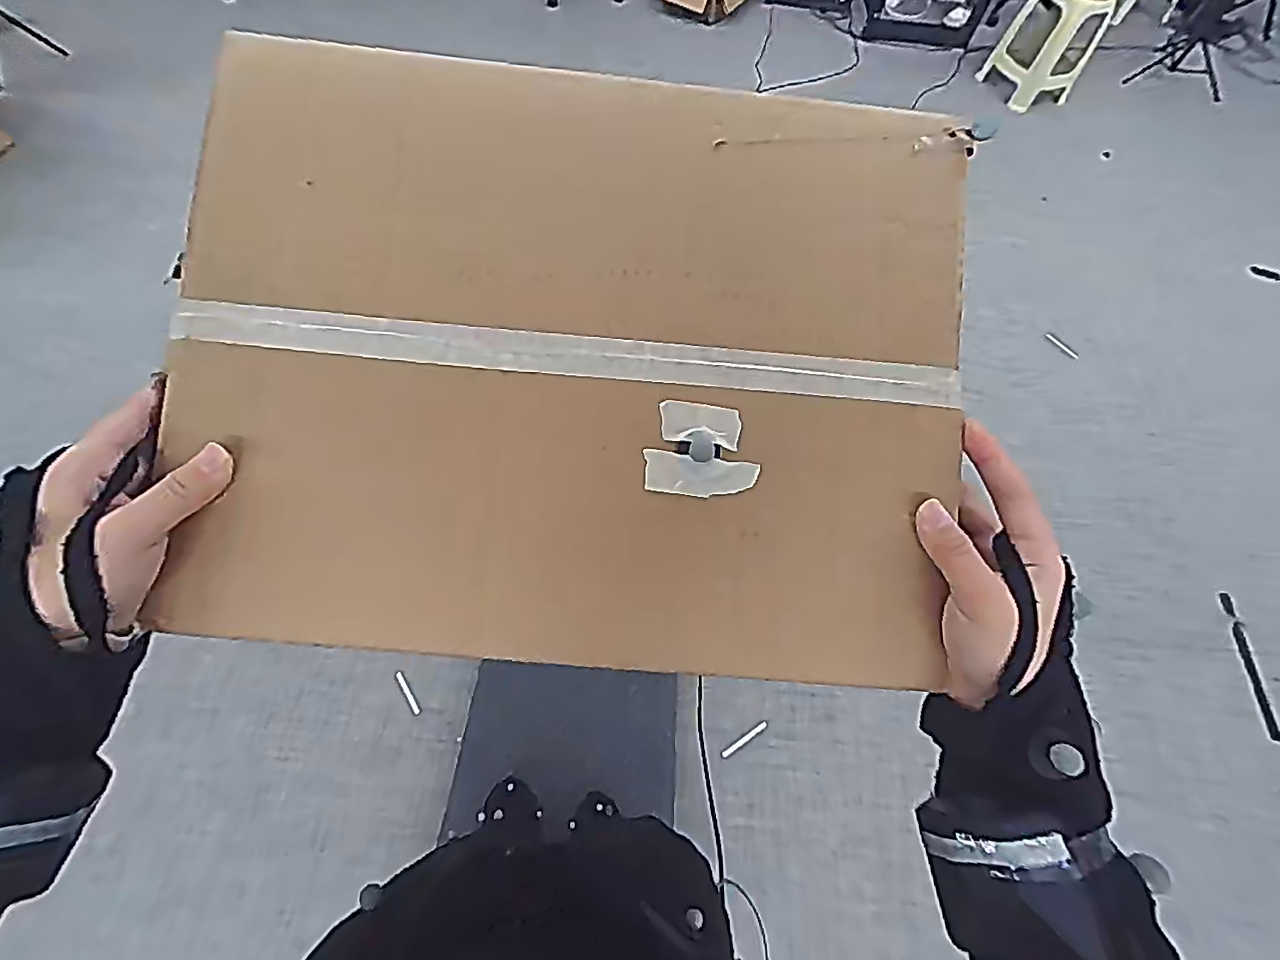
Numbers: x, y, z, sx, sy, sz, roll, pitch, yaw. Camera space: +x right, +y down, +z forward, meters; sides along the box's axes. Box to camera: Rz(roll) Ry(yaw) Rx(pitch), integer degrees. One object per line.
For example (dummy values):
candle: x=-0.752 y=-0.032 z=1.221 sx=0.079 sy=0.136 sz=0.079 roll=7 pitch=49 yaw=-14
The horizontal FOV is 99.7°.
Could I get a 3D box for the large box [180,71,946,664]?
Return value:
large box: x=-0.037 y=-0.053 z=0.446 sx=0.408 sy=0.320 sz=0.320 roll=5 pitch=86 yaw=-2
